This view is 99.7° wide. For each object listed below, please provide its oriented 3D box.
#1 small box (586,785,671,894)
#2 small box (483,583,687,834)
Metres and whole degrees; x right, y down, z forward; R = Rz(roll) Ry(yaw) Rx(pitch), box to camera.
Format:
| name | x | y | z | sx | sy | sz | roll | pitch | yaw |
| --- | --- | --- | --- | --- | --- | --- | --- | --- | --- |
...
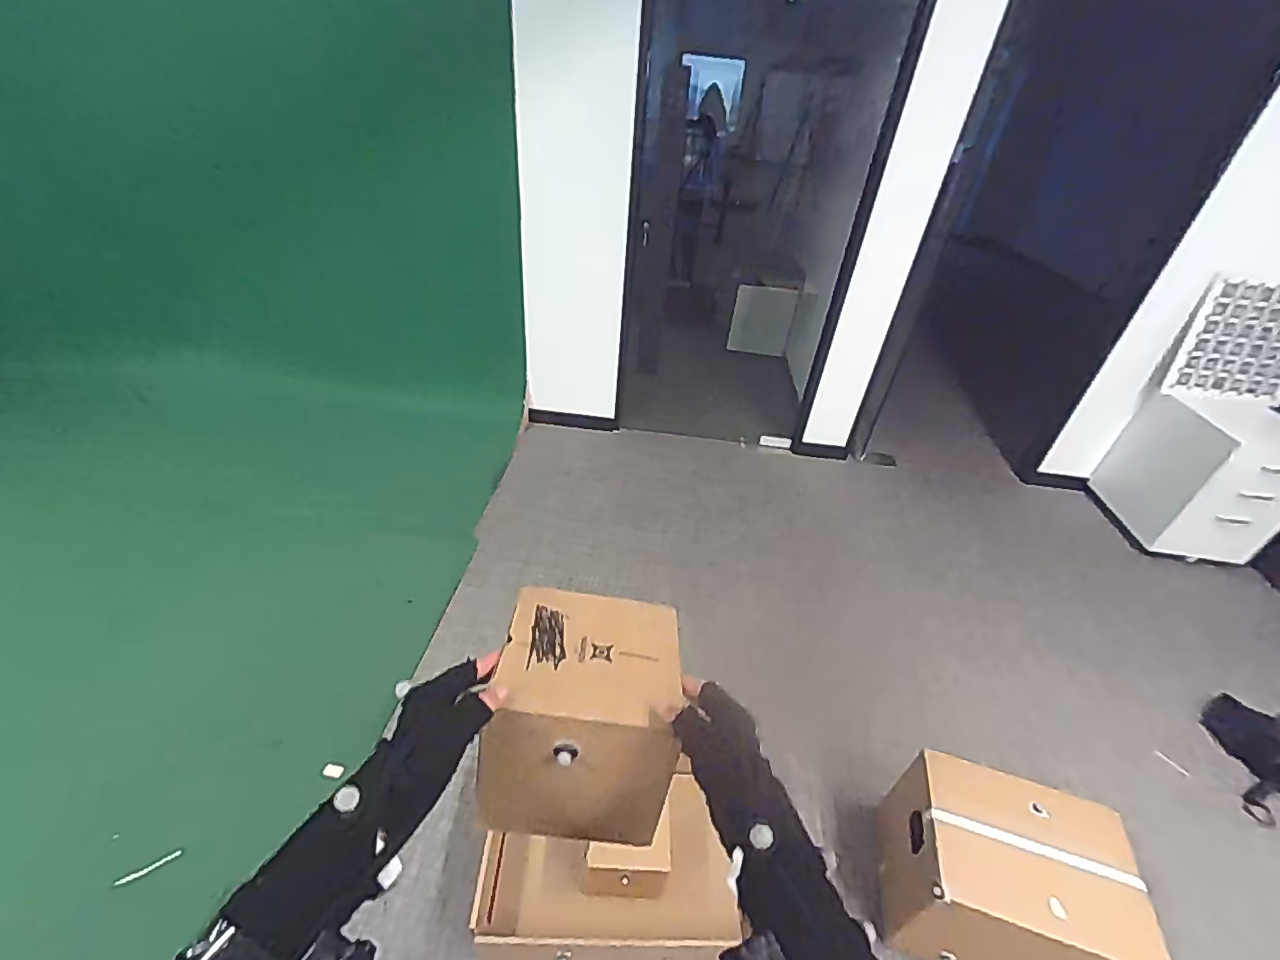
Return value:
| name | x | y | z | sx | sy | sz | roll | pitch | yaw |
| --- | --- | --- | --- | --- | --- | --- | --- | --- | --- |
| small box | -0.027 | 0.808 | 1.220 | 0.179 | 0.176 | 0.168 | 6 | 37 | -3 |
| small box | -0.057 | 0.234 | 0.564 | 0.179 | 0.176 | 0.168 | 10 | 26 | -4 |
